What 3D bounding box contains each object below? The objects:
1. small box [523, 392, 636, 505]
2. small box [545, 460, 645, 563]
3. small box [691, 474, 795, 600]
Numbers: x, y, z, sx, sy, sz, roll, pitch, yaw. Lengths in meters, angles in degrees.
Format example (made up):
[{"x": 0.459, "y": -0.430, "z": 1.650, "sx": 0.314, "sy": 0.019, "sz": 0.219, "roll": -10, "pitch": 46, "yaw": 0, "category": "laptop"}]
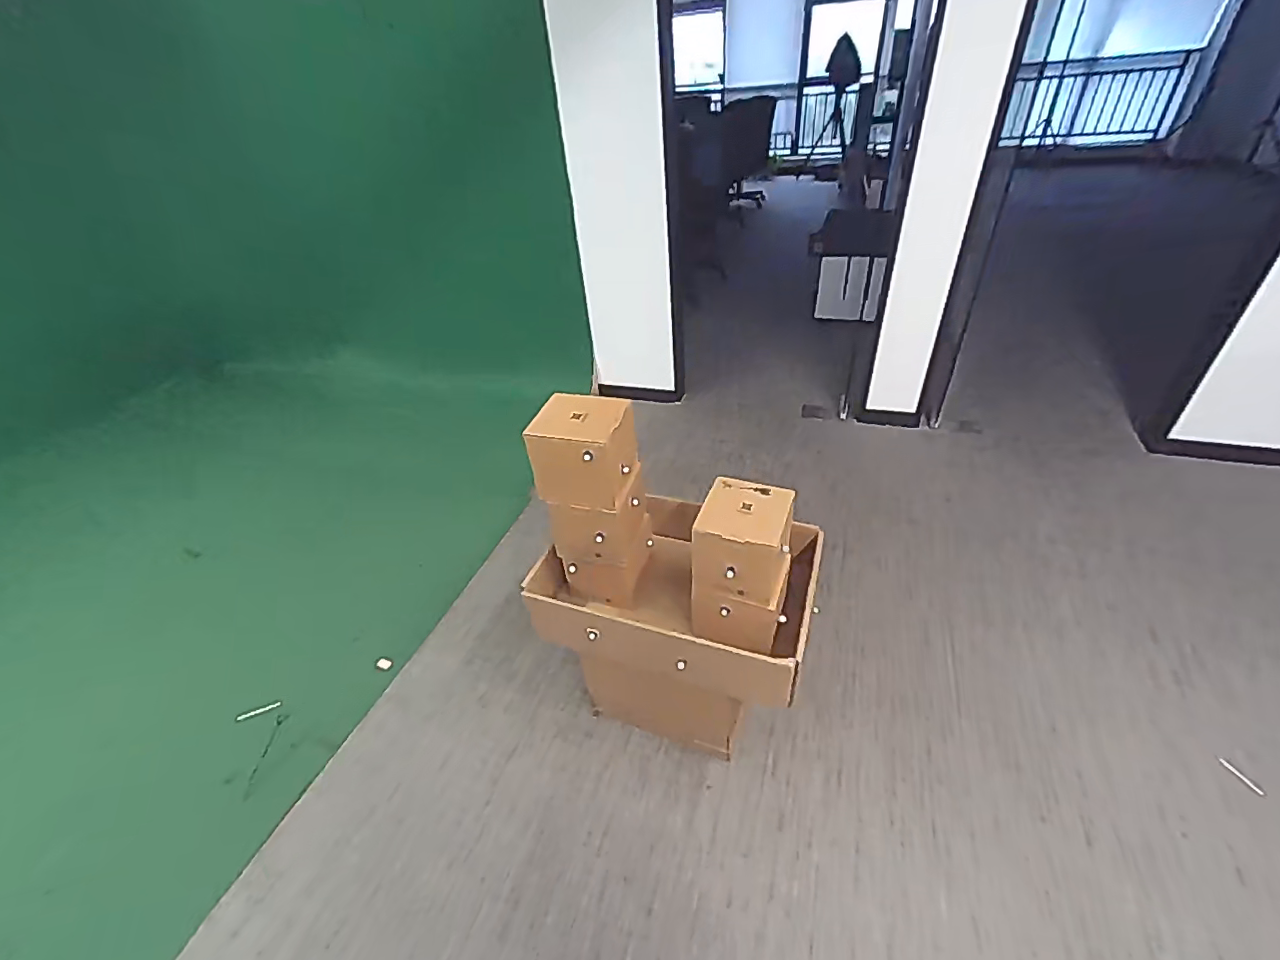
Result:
[{"x": -0.116, "y": -0.065, "z": 1.119, "sx": 0.179, "sy": 0.176, "sz": 0.168, "roll": 7, "pitch": 40, "yaw": 14, "category": "small box"}, {"x": -0.090, "y": 0.064, "z": 1.216, "sx": 0.168, "sy": 0.176, "sz": 0.179, "roll": 8, "pitch": 40, "yaw": 16, "category": "small box"}, {"x": 0.212, "y": 0.118, "z": 1.107, "sx": 0.168, "sy": 0.176, "sz": 0.179, "roll": 12, "pitch": 42, "yaw": 21, "category": "small box"}]
